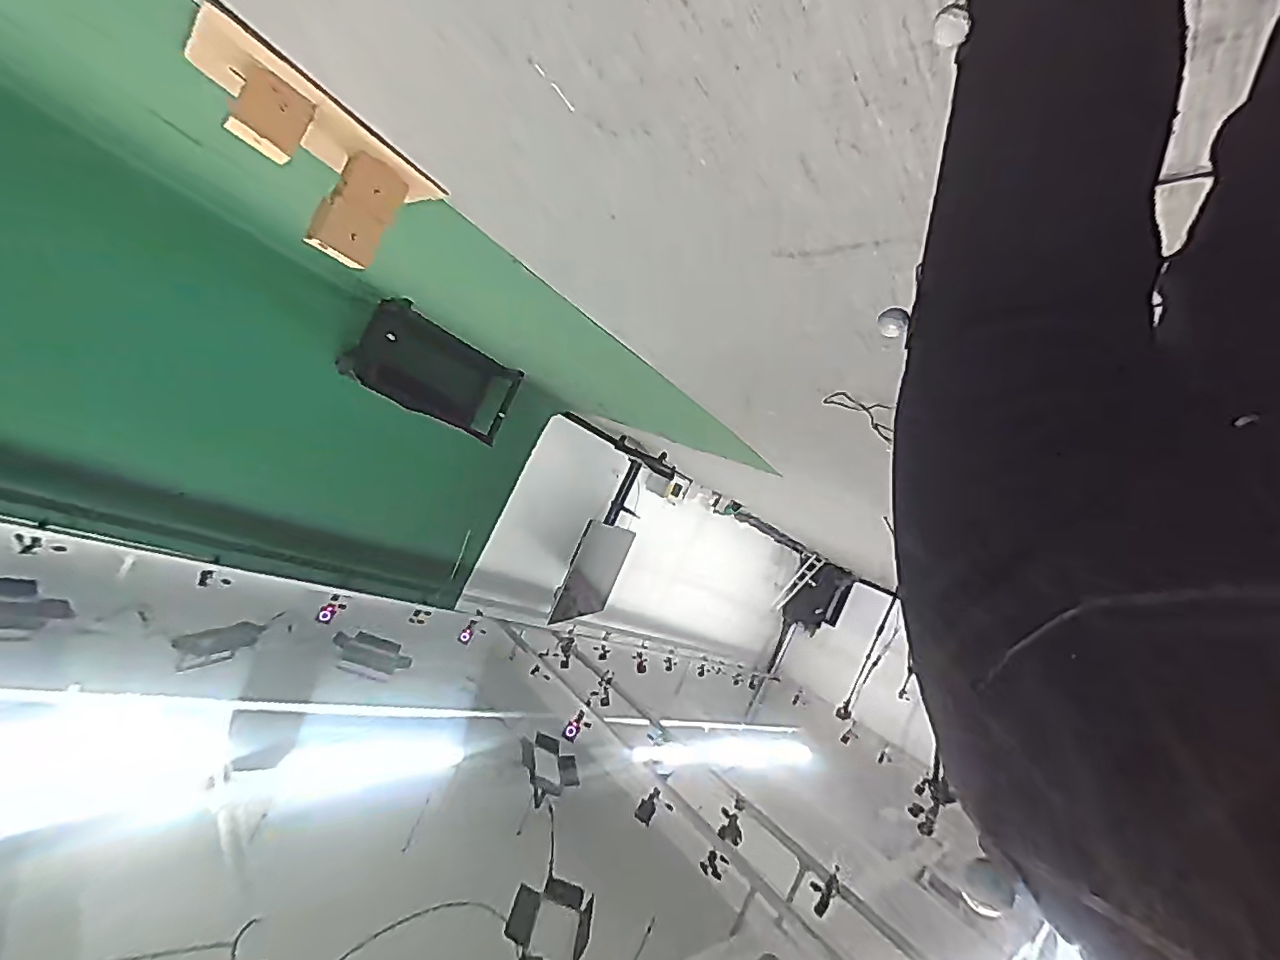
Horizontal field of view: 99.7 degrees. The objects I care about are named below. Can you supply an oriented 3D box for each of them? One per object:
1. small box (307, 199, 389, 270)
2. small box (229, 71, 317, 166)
[{"bbox_3d":[-1.024,-0.865,1.900,0.168,0.176,0.179,23,178,41],"label":"small box"},{"bbox_3d":[-1.137,-1.118,1.680,0.179,0.176,0.168,22,176,45],"label":"small box"}]
